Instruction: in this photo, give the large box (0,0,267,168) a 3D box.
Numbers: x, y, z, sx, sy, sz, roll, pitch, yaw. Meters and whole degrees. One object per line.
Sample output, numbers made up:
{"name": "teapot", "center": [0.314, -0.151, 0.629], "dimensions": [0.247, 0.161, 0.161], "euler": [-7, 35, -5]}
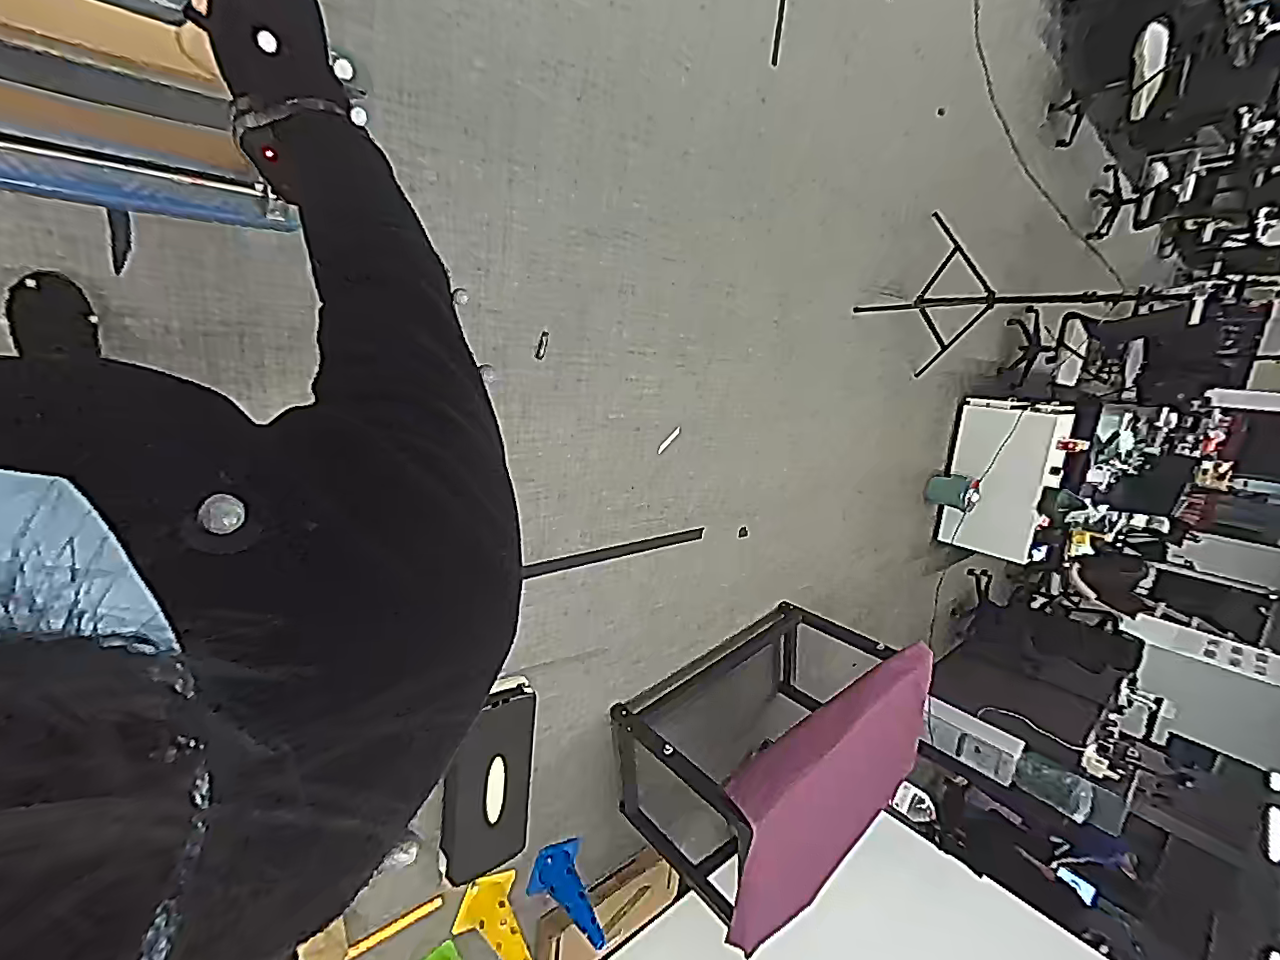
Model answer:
{"name": "large box", "center": [-0.767, -0.657, 0.708], "dimensions": [0.408, 0.320, 0.320], "euler": [-8, 107, -41]}
